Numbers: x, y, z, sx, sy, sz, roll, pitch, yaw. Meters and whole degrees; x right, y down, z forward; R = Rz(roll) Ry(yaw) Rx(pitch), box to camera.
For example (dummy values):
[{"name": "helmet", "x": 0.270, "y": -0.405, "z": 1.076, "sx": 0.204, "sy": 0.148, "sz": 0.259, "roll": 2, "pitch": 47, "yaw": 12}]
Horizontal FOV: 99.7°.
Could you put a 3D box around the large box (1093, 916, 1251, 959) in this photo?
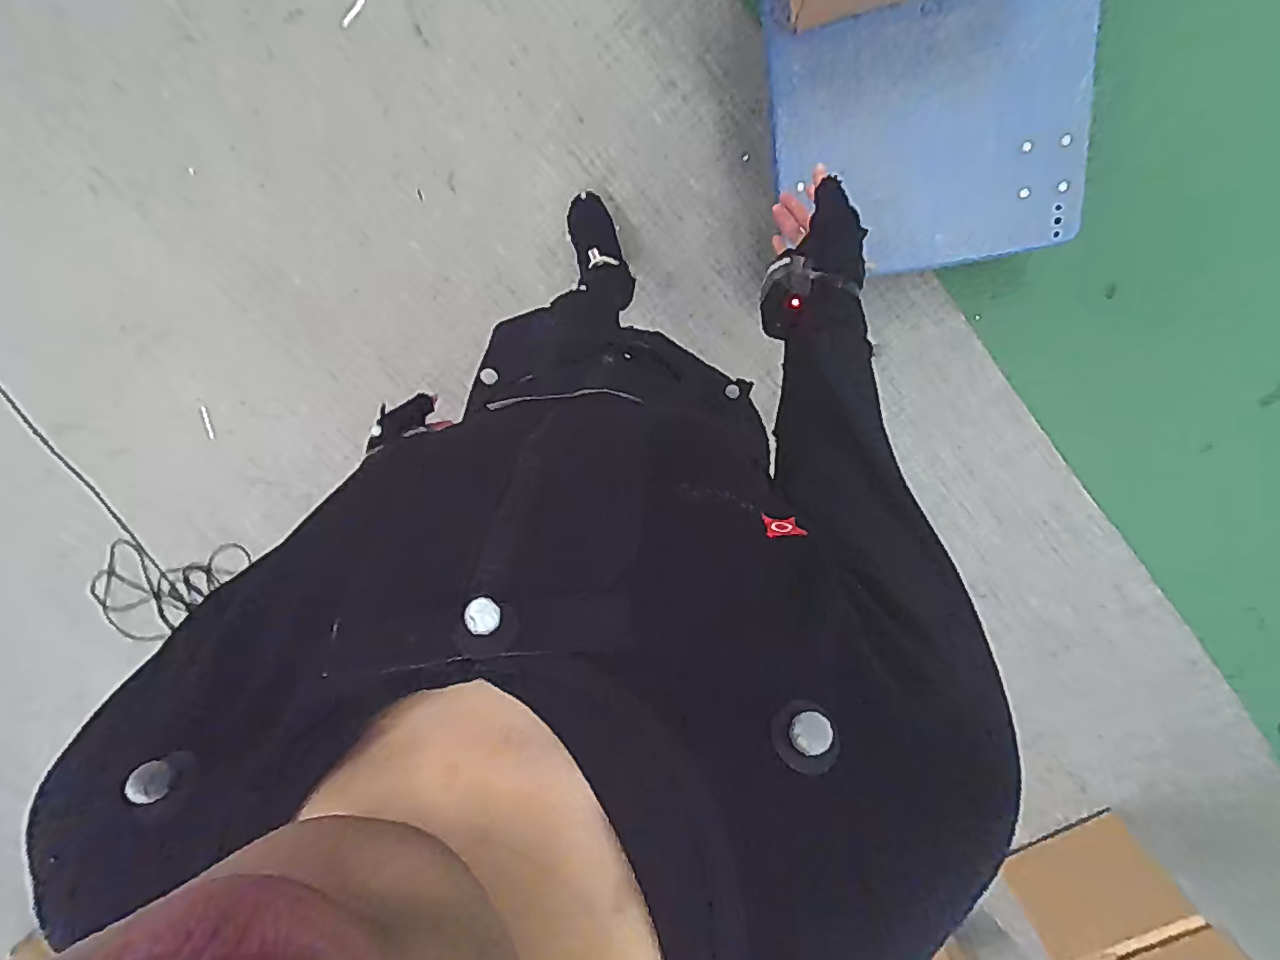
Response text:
[{"name": "large box", "x": 1.458, "y": 1.425, "z": 1.384, "sx": 0.408, "sy": 0.320, "sz": 0.320, "roll": -39, "pitch": 105, "yaw": 15}]
